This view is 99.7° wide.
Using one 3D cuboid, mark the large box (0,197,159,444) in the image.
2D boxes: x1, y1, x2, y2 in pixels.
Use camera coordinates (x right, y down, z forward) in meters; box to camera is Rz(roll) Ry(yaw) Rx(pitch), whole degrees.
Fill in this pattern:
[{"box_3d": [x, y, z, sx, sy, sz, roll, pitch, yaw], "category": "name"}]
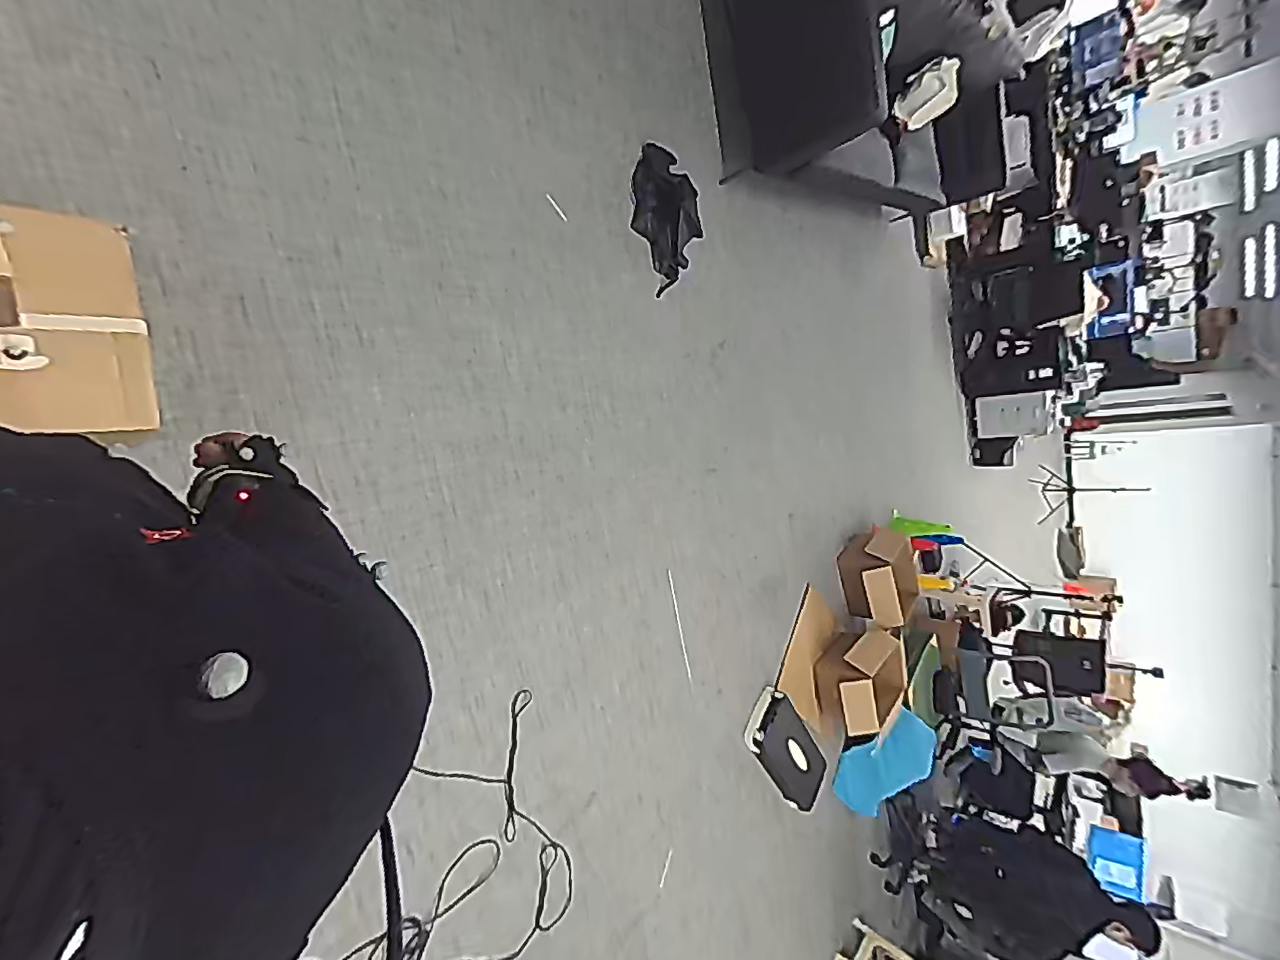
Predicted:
[{"box_3d": [-1.003, -0.211, 0.778, 0.408, 0.320, 0.320, -12, 98, -47], "category": "large box"}]
